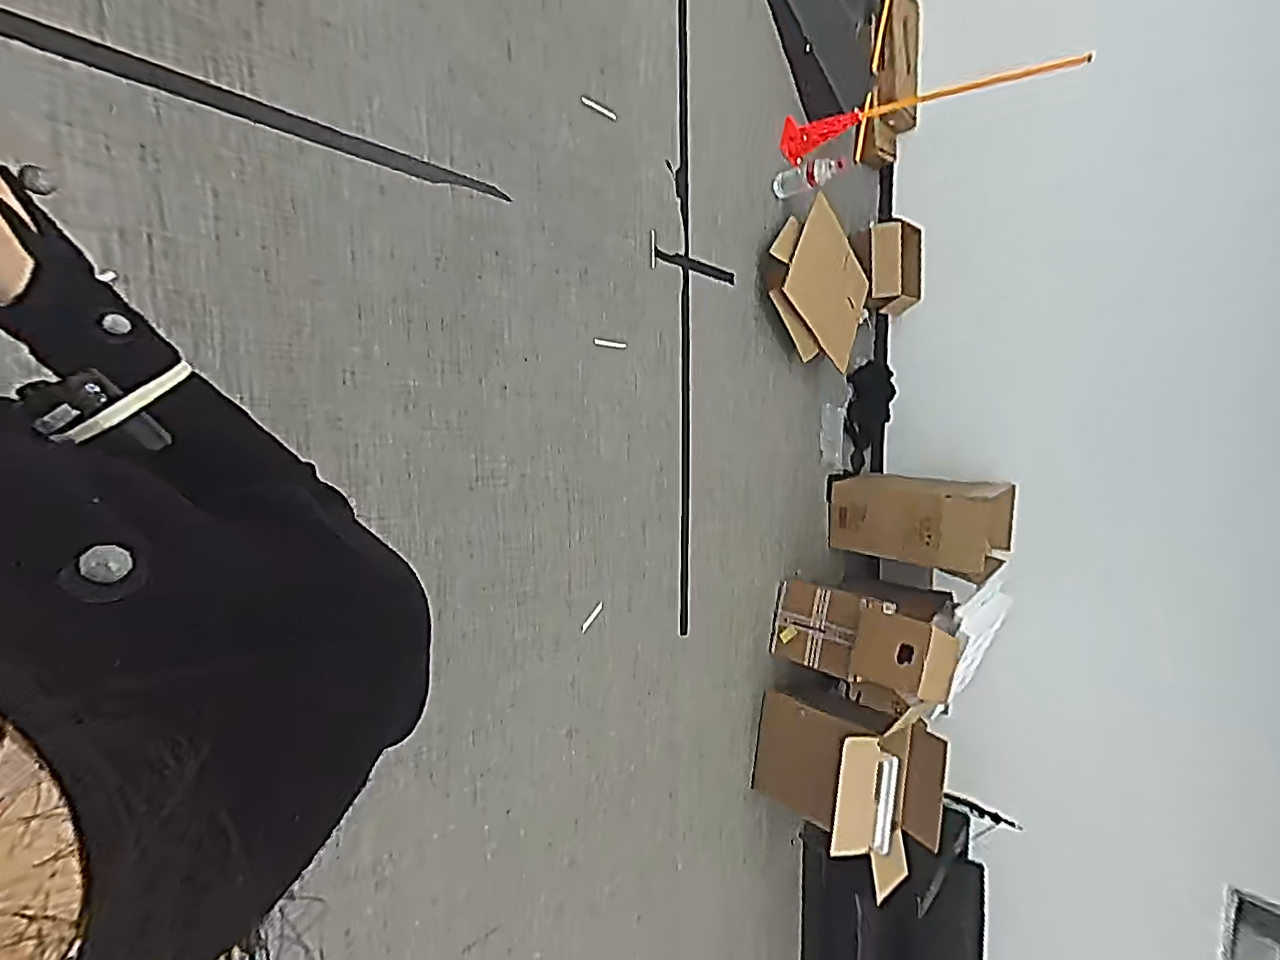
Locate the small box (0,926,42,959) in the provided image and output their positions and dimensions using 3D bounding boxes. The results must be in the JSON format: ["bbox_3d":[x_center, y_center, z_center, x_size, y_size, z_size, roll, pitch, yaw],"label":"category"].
[{"bbox_3d":[-0.949,0.779,0.739,0.179,0.176,0.168,-6,97,-43],"label":"small box"}]
